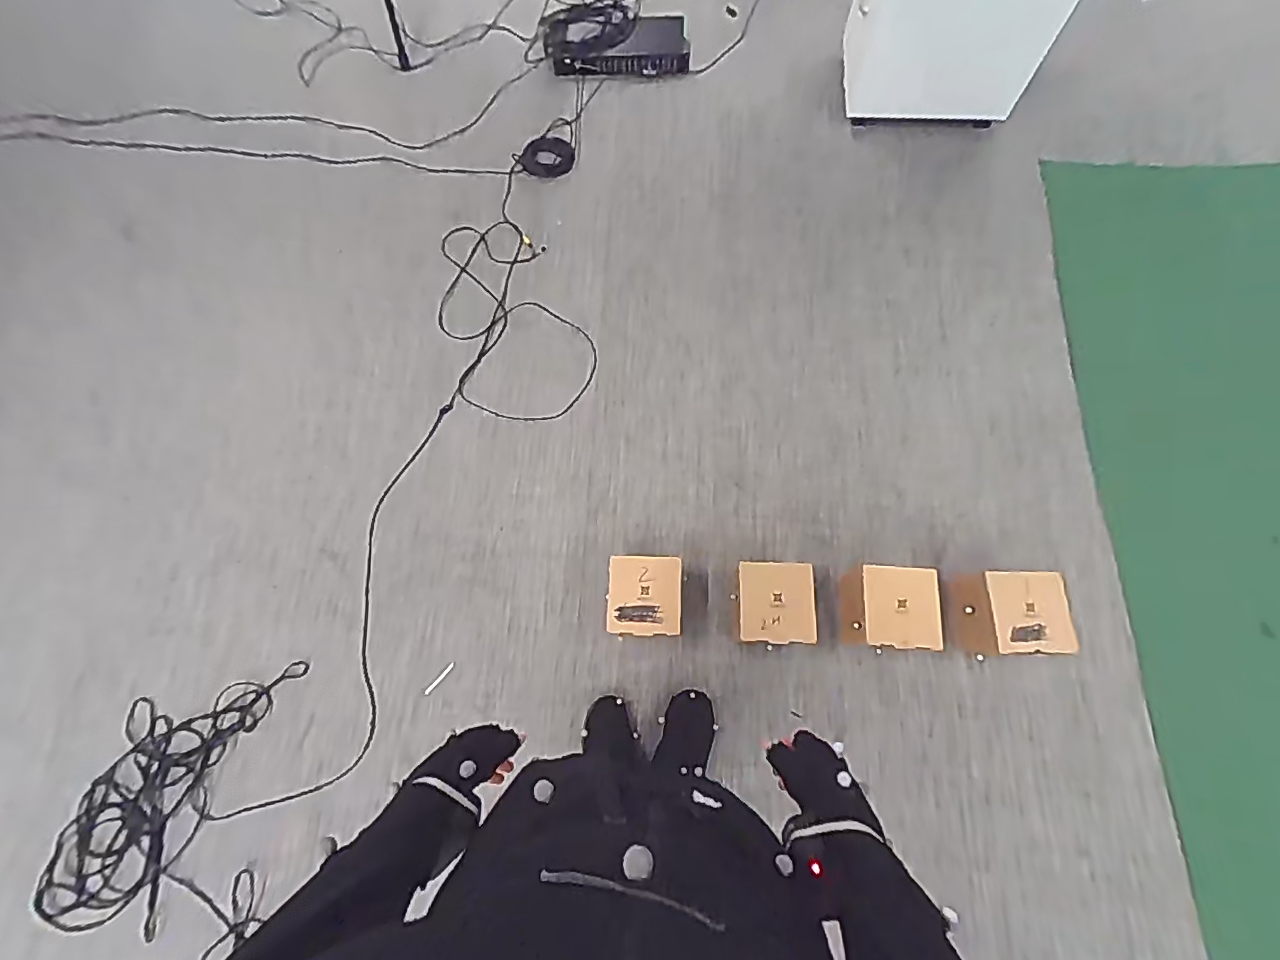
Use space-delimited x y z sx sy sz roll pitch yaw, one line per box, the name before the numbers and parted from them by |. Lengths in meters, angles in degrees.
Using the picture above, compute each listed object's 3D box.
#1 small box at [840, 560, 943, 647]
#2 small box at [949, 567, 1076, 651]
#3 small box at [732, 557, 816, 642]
small box | 0.573 0.291 1.256 0.168 0.176 0.179 3 73 3
small box | 0.841 0.299 1.240 0.168 0.176 0.179 0 72 2
small box | 0.305 0.283 1.267 0.168 0.176 0.179 1 72 4
